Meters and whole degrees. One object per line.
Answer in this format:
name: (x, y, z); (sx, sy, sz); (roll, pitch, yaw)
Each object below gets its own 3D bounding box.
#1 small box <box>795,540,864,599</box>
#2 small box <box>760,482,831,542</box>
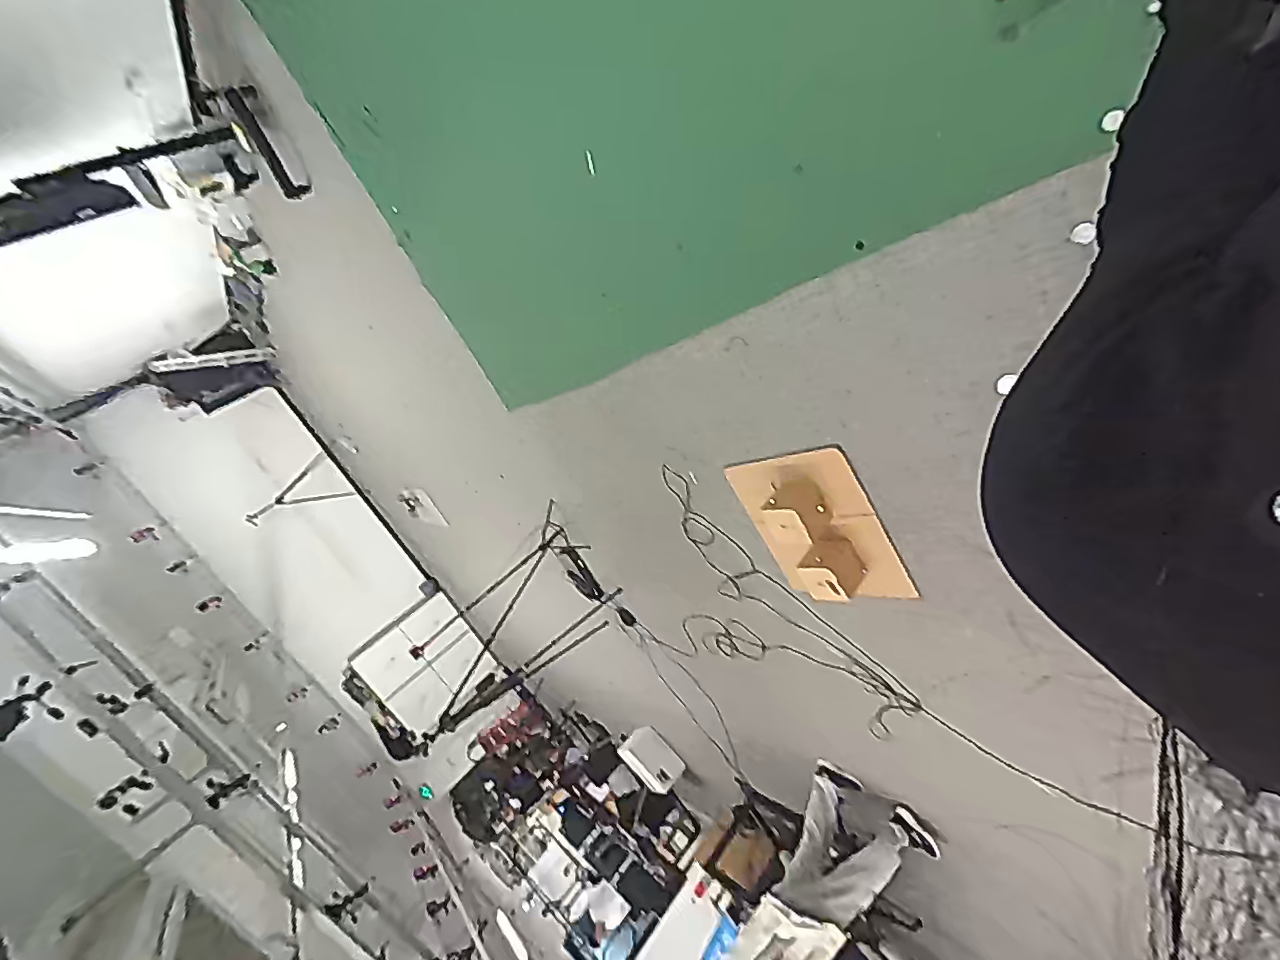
small box: (0.757, 0.349, 2.136); (0.168, 0.176, 0.179); (56, 149, -12)
small box: (0.602, 0.122, 2.085); (0.179, 0.176, 0.168); (-6, 121, 54)
